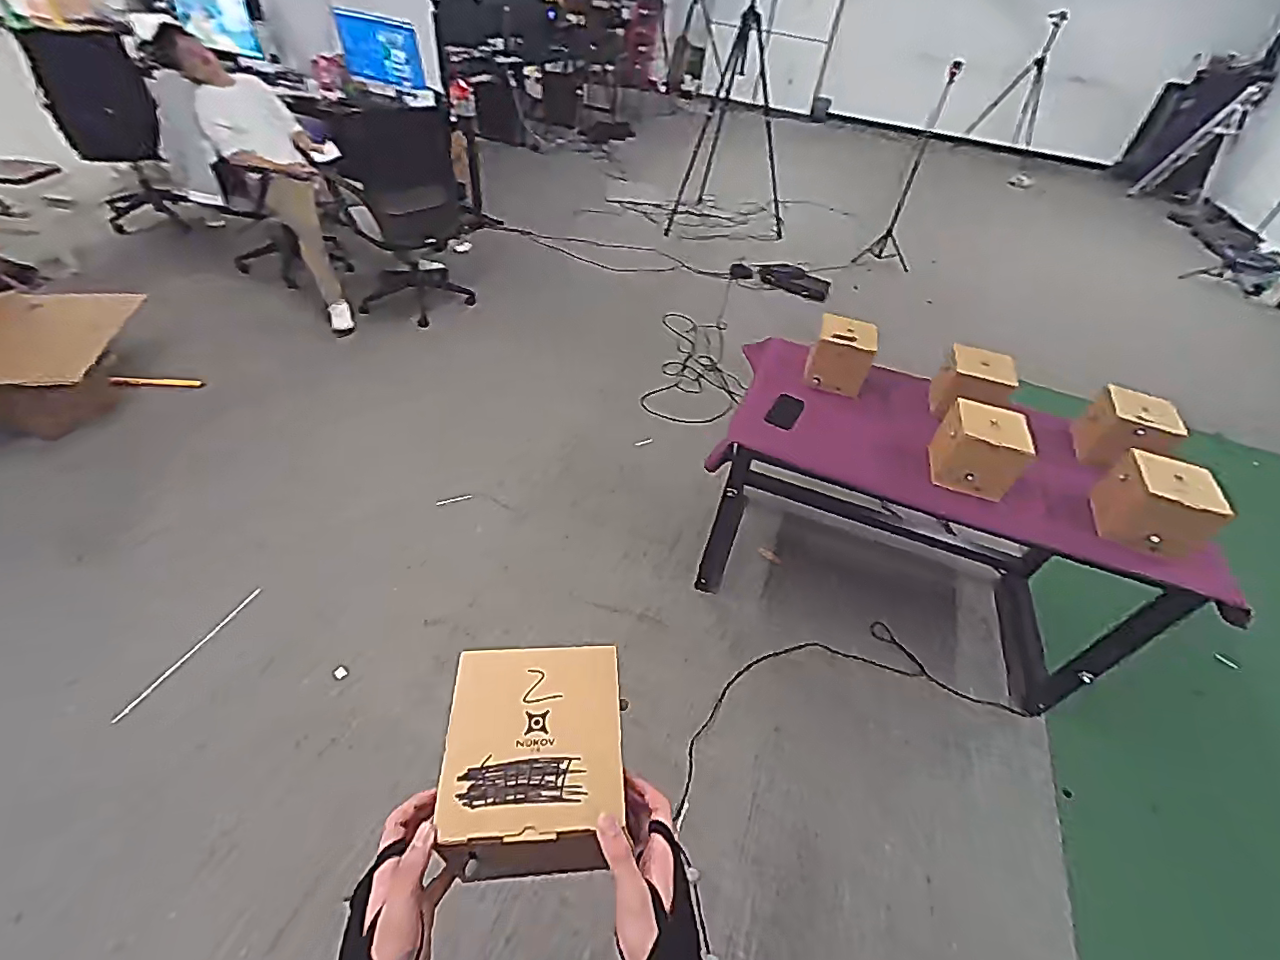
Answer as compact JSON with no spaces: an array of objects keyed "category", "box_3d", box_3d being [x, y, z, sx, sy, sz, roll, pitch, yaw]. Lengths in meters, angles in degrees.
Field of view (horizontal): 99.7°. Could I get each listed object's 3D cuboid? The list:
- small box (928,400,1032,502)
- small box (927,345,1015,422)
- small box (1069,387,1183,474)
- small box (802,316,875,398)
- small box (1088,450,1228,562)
[{"category":"small box","box_3d":[0.867,-0.075,1.400,0.168,0.176,0.179,18,44,10]},{"category":"small box","box_3d":[0.982,-0.273,1.621,0.168,0.176,0.179,18,46,11]},{"category":"small box","box_3d":[1.355,-0.129,1.525,0.168,0.176,0.179,20,45,14]},{"category":"small box","box_3d":[0.612,-0.380,1.673,0.168,0.176,0.179,17,44,8]},{"category":"small box","box_3d":[1.230,0.063,1.305,0.168,0.176,0.179,20,45,14]}]
